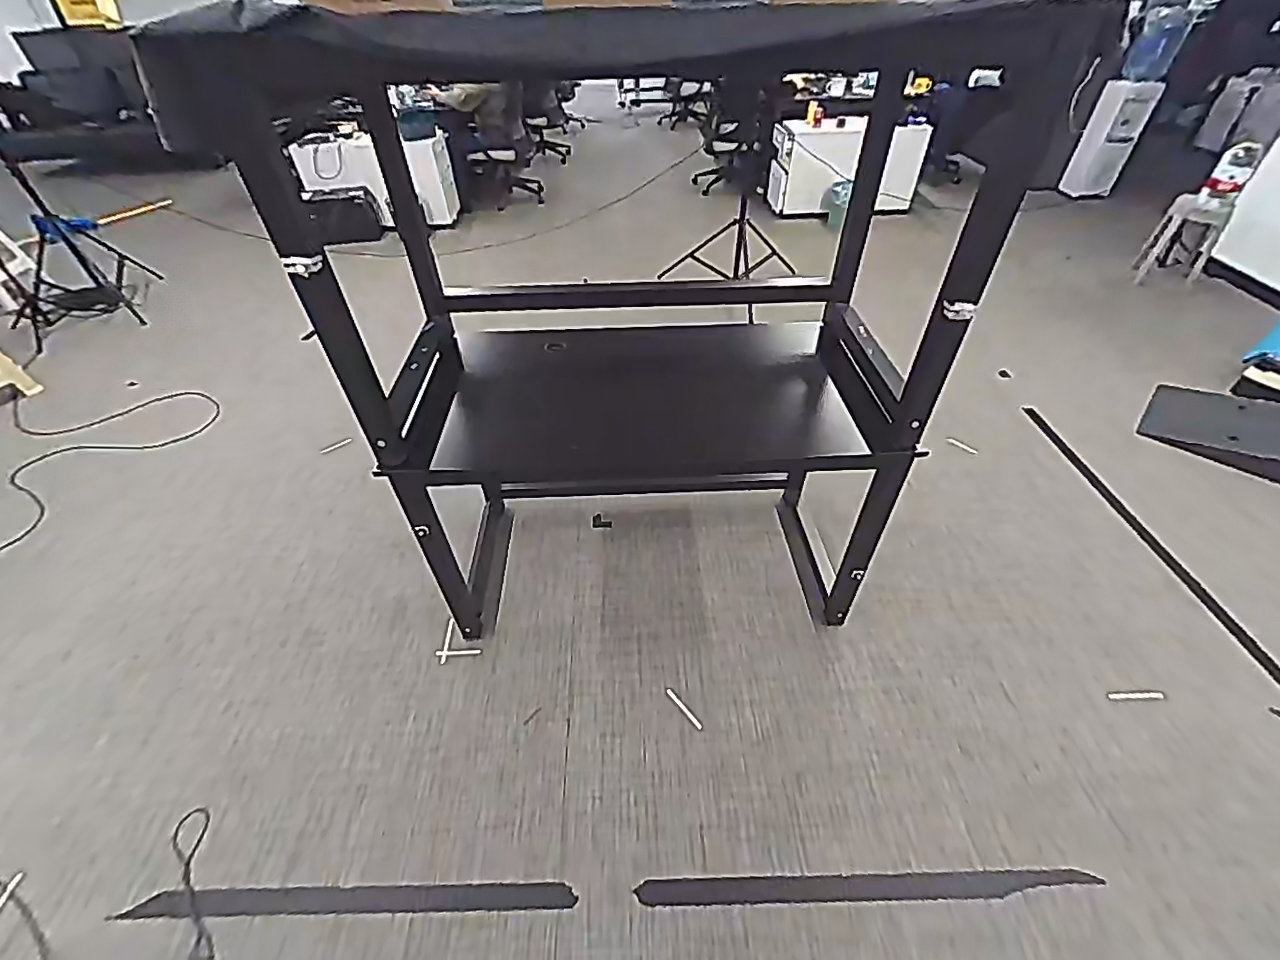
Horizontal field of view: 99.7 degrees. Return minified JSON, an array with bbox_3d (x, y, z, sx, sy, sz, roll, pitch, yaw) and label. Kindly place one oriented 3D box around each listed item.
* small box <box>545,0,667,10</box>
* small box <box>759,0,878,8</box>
[{"bbox_3d":[-0.045,-0.728,0.706,0.168,0.176,0.179,-1,41,1],"label":"small box"},{"bbox_3d":[0.253,-0.740,0.711,0.168,0.176,0.179,1,42,3],"label":"small box"}]
